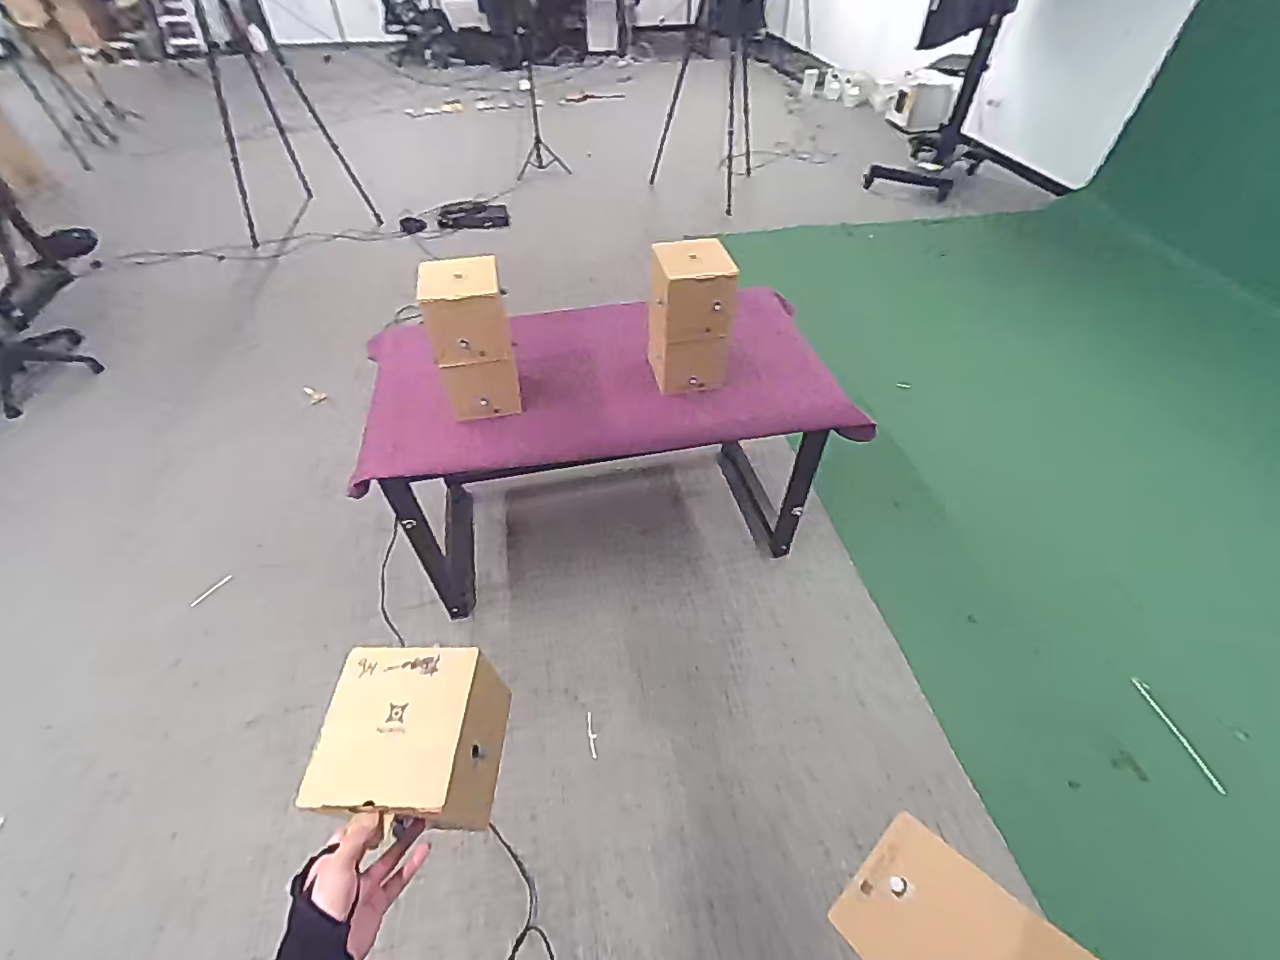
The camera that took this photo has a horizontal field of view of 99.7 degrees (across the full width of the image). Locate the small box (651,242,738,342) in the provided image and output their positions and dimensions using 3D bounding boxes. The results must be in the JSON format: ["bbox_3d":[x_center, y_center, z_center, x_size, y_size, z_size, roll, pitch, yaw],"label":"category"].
[{"bbox_3d":[0.125,-0.445,1.301,0.168,0.176,0.179,-9,48,-8],"label":"small box"}]

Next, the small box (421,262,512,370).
[{"bbox_3d":[-0.392,-0.376,1.241,0.168,0.176,0.179,-9,49,-9],"label":"small box"}]

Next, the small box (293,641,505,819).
[{"bbox_3d":[-0.281,0.318,0.681,0.168,0.176,0.179,-1,52,4],"label":"small box"}]

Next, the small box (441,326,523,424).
[{"bbox_3d":[-0.392,-0.265,1.360,0.168,0.176,0.179,-9,48,-7],"label":"small box"}]
